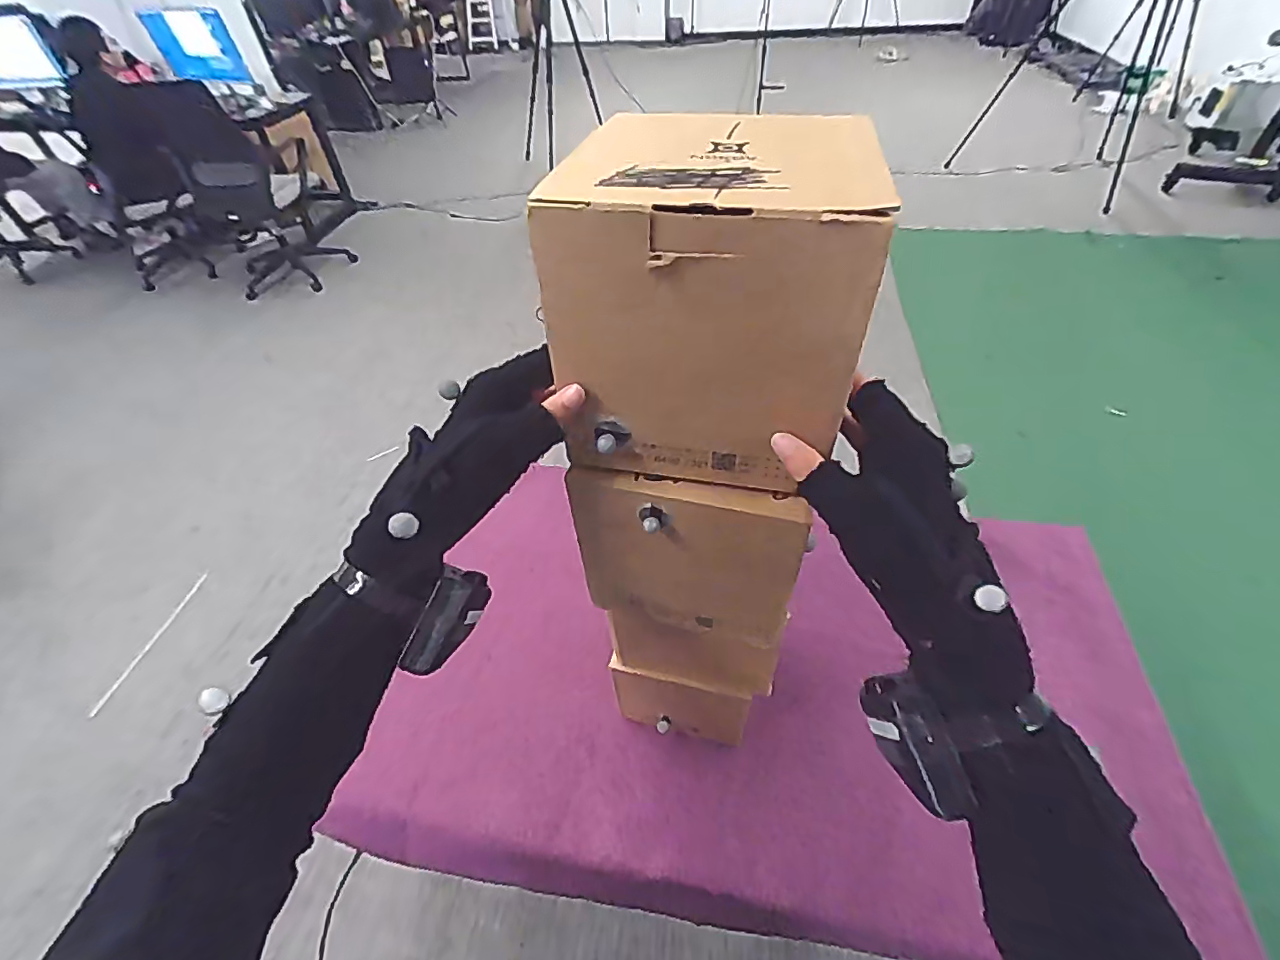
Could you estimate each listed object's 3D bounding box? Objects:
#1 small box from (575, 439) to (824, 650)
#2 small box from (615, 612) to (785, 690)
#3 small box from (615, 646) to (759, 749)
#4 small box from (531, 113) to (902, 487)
[{"bbox_3d":[0.059,0.011,0.457,0.168,0.176,0.179,10,47,14],"label":"small box"},{"bbox_3d":[0.073,0.107,0.591,0.179,0.176,0.168,8,47,12],"label":"small box"},{"bbox_3d":[0.075,0.219,0.709,0.168,0.176,0.179,9,48,13],"label":"small box"},{"bbox_3d":[0.050,-0.116,0.346,0.168,0.176,0.179,7,45,10],"label":"small box"}]
